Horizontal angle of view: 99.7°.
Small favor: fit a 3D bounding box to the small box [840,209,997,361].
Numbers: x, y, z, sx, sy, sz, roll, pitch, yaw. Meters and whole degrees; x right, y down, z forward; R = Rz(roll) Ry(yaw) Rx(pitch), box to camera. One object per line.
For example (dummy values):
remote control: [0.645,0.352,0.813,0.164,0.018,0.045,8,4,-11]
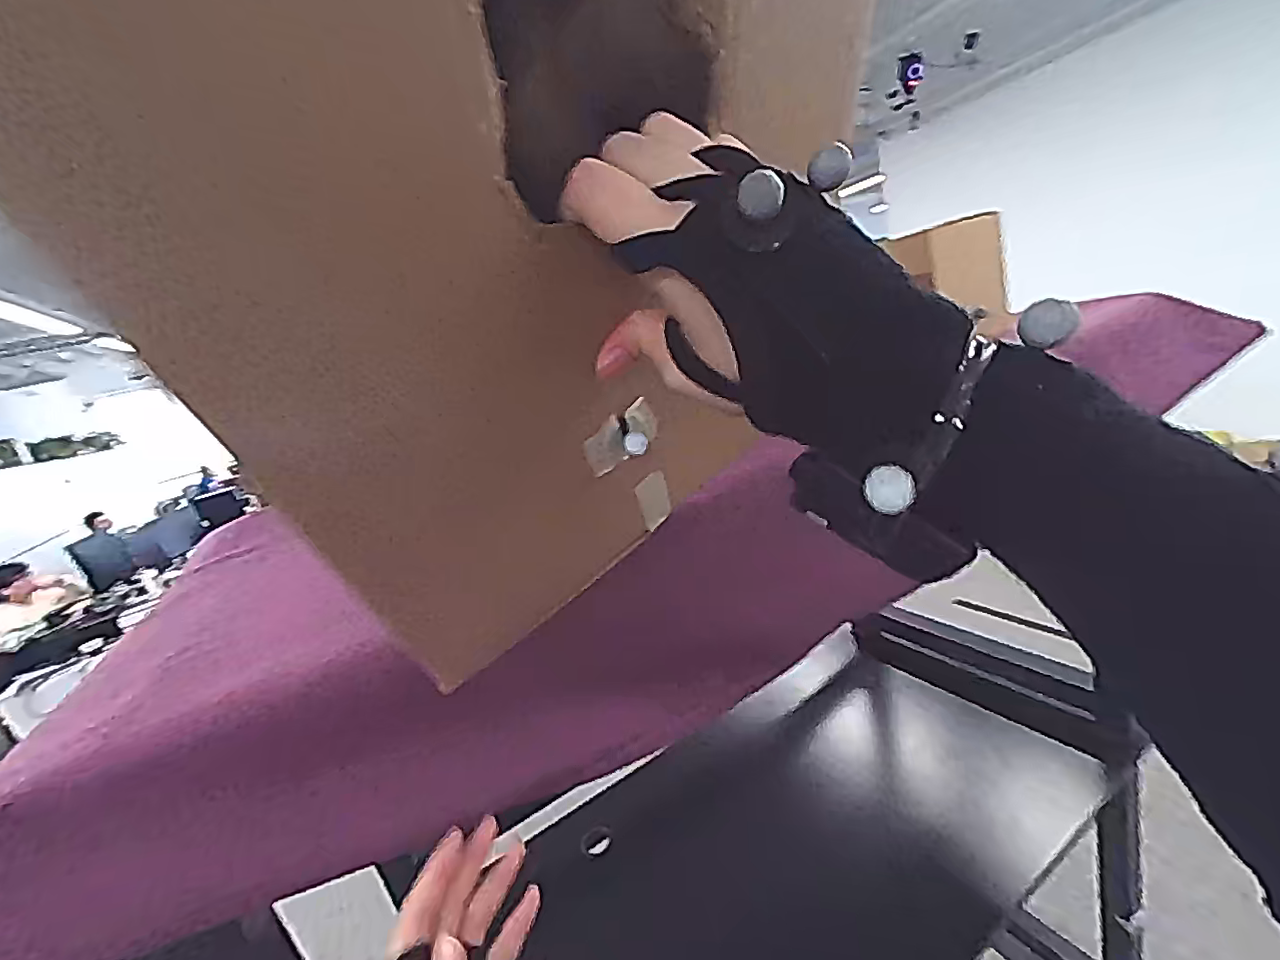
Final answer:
small box: [0.399,-0.279,0.799,0.179,0.176,0.168,-23,16,-27]
